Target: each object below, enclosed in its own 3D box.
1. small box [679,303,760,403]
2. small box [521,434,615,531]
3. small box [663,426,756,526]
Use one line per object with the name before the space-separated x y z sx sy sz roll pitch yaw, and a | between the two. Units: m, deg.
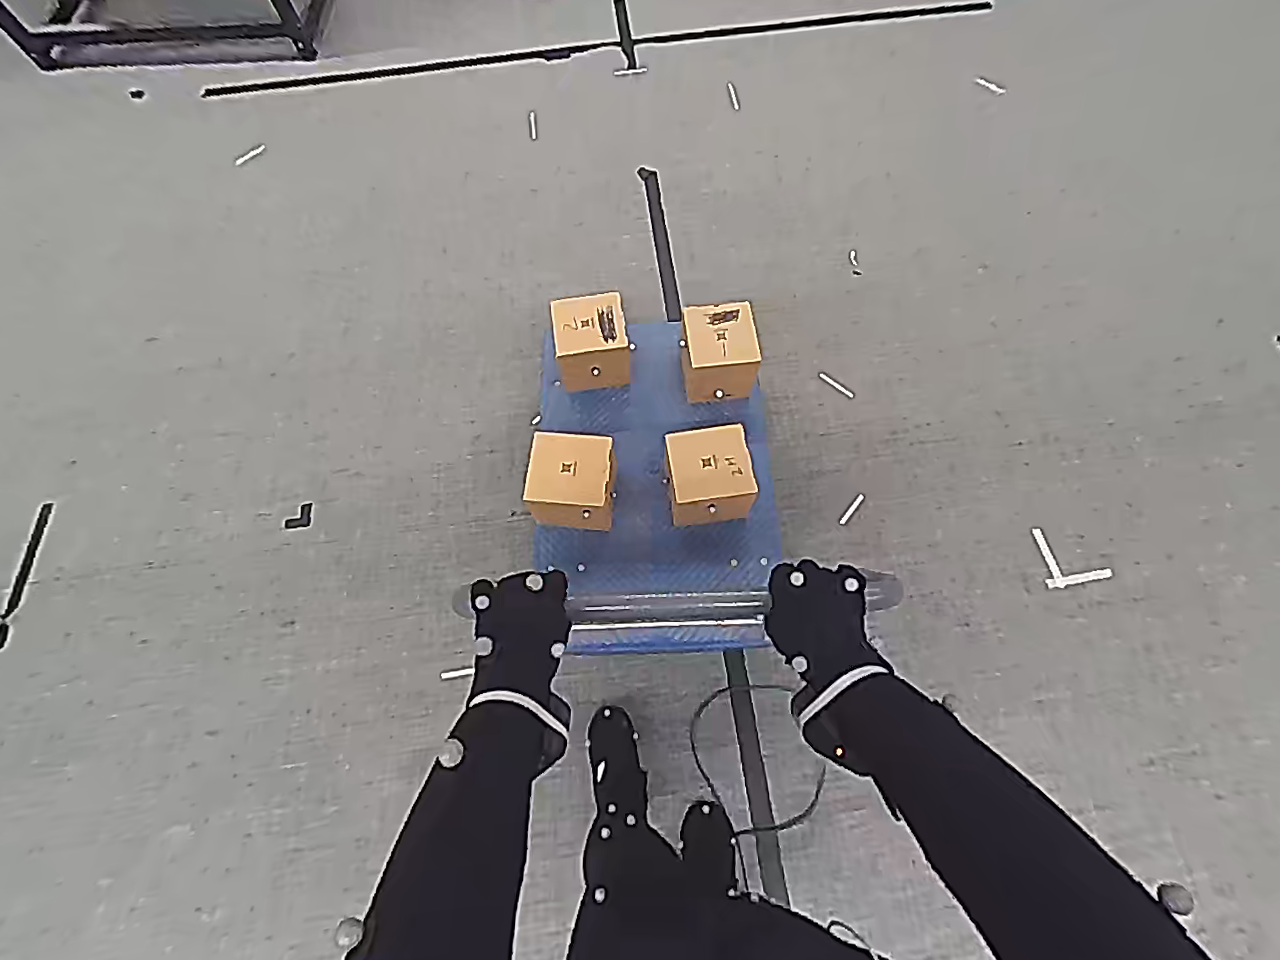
small box | 0.190 -0.314 1.349 0.168 0.176 0.179 -6 69 -1
small box | -0.155 0.010 1.227 0.179 0.176 0.168 4 68 2
small box | 0.150 -0.003 1.223 0.179 0.176 0.168 -8 68 -2
